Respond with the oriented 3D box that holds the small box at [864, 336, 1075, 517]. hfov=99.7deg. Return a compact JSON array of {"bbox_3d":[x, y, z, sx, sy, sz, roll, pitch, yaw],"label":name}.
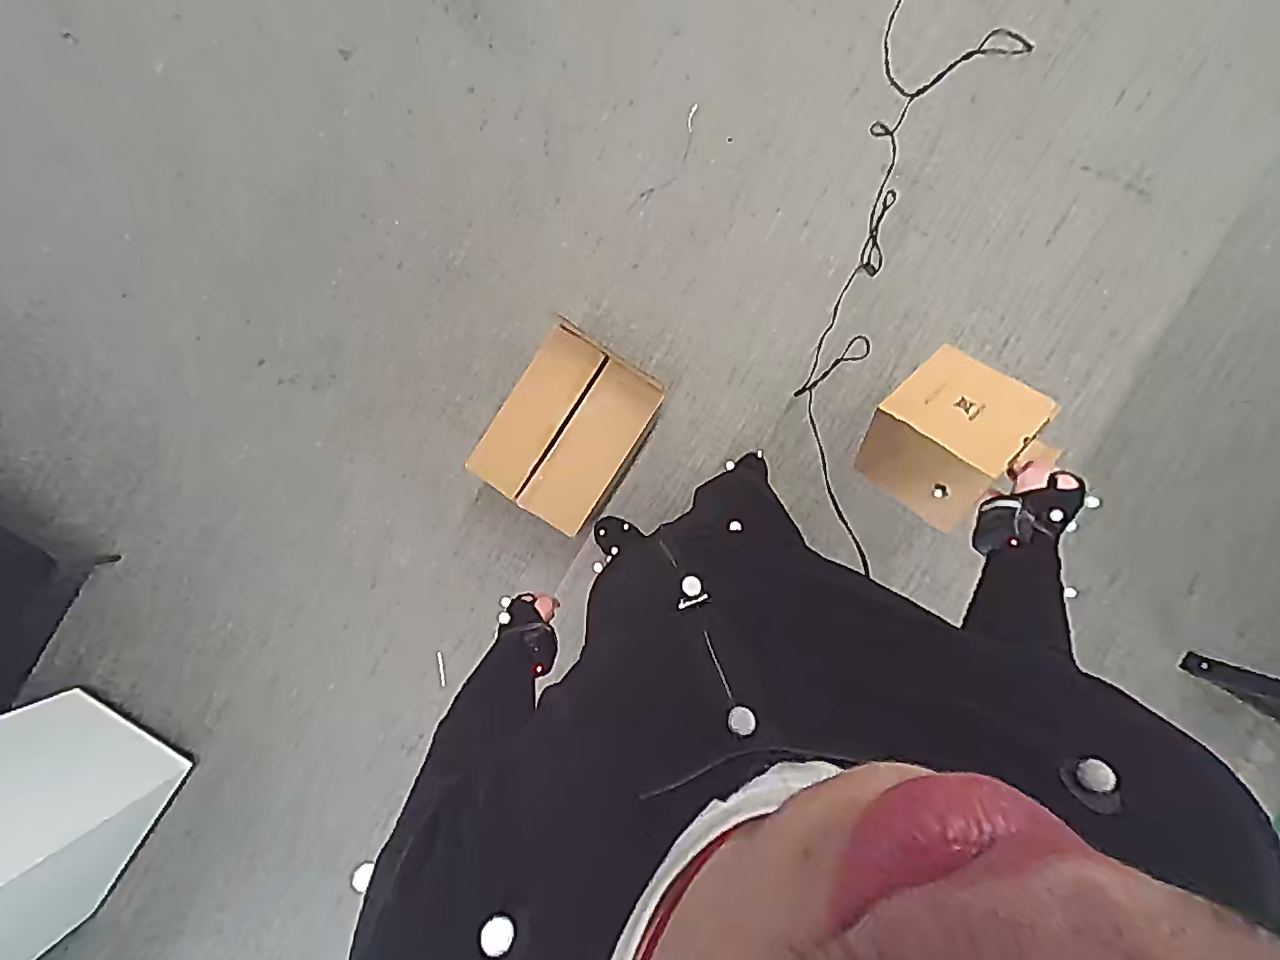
[{"bbox_3d":[0.465,-0.069,0.794,0.168,0.176,0.179,-36,60,-16],"label":"small box"}]
